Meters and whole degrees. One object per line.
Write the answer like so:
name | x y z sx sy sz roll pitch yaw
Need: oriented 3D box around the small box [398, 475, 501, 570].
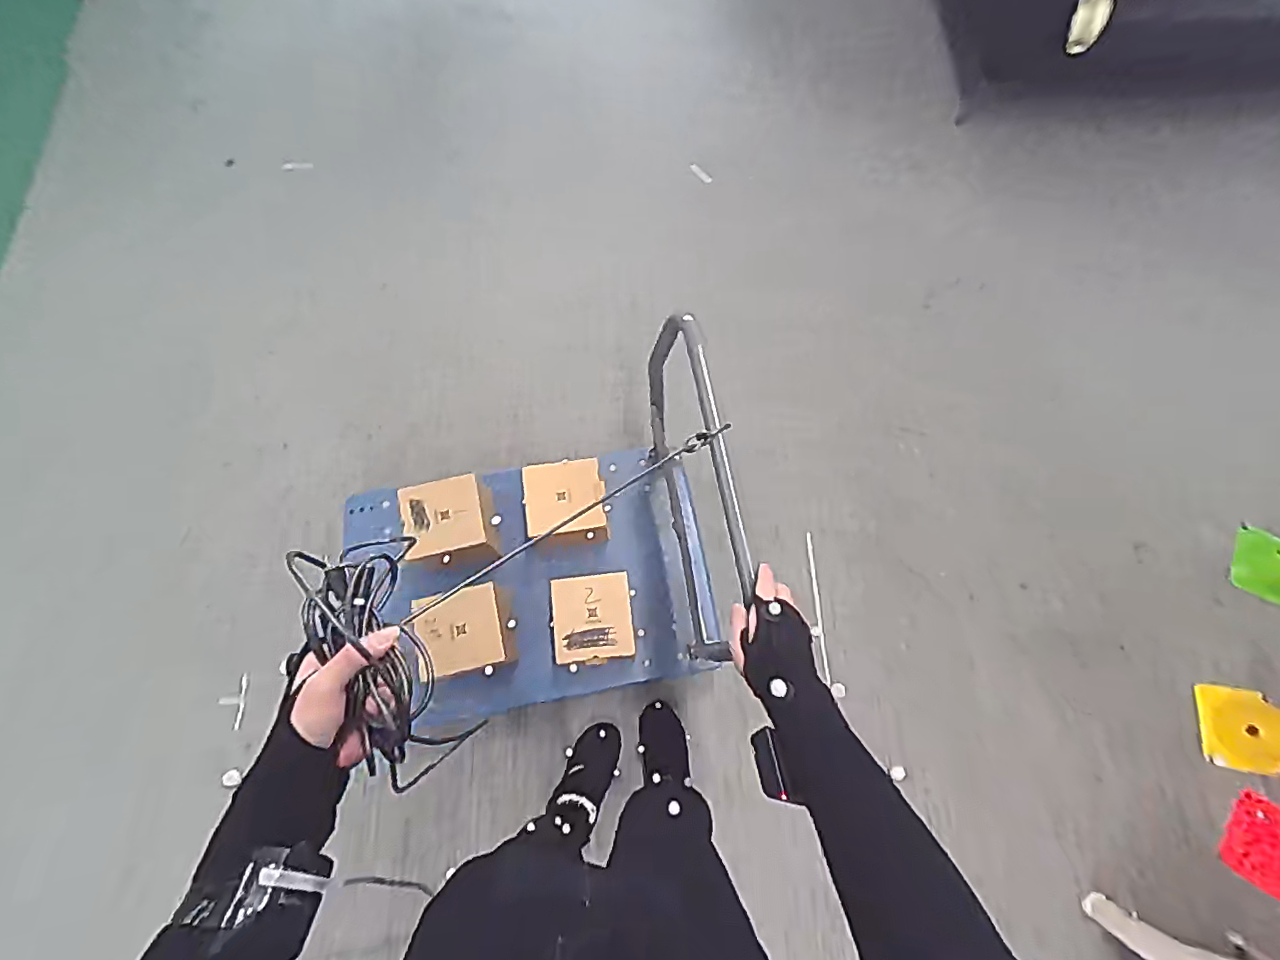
small box | -0.440 0.105 1.265 0.179 0.176 0.168 -12 73 -6

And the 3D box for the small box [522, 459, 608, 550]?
small box | -0.174 0.065 1.287 0.179 0.176 0.168 -8 72 -4

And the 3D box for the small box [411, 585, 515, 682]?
small box | -0.381 0.338 1.191 0.179 0.176 0.168 -12 72 -5
